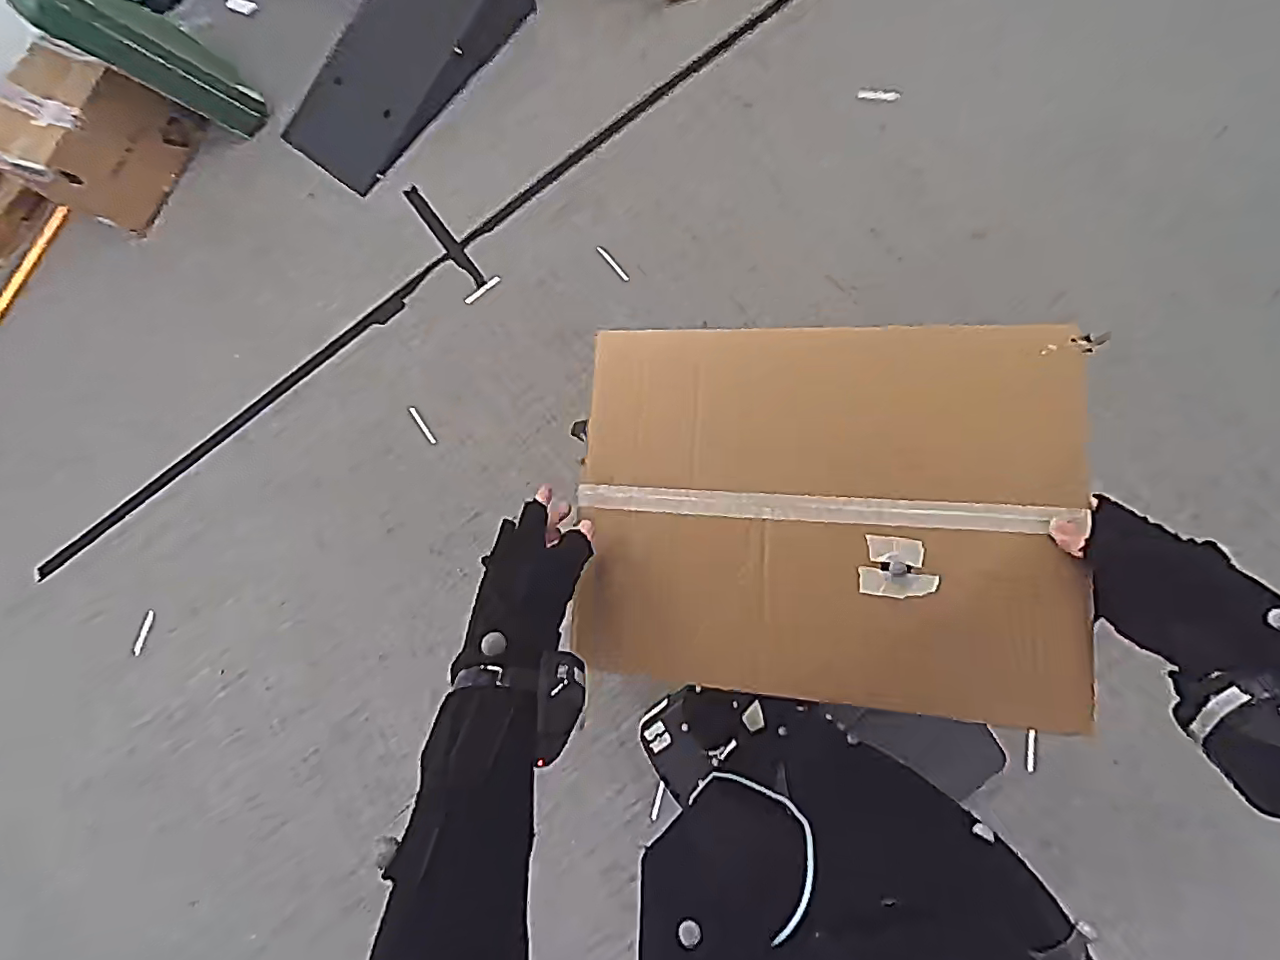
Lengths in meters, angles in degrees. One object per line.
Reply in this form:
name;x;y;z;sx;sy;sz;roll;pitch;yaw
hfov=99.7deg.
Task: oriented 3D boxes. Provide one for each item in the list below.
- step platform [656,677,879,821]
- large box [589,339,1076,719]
step platform;0.368;0.488;1.323;0.684;0.204;0.286;-39;75;-2
large box;0.185;0.044;0.620;0.408;0.320;0.320;3;85;14
